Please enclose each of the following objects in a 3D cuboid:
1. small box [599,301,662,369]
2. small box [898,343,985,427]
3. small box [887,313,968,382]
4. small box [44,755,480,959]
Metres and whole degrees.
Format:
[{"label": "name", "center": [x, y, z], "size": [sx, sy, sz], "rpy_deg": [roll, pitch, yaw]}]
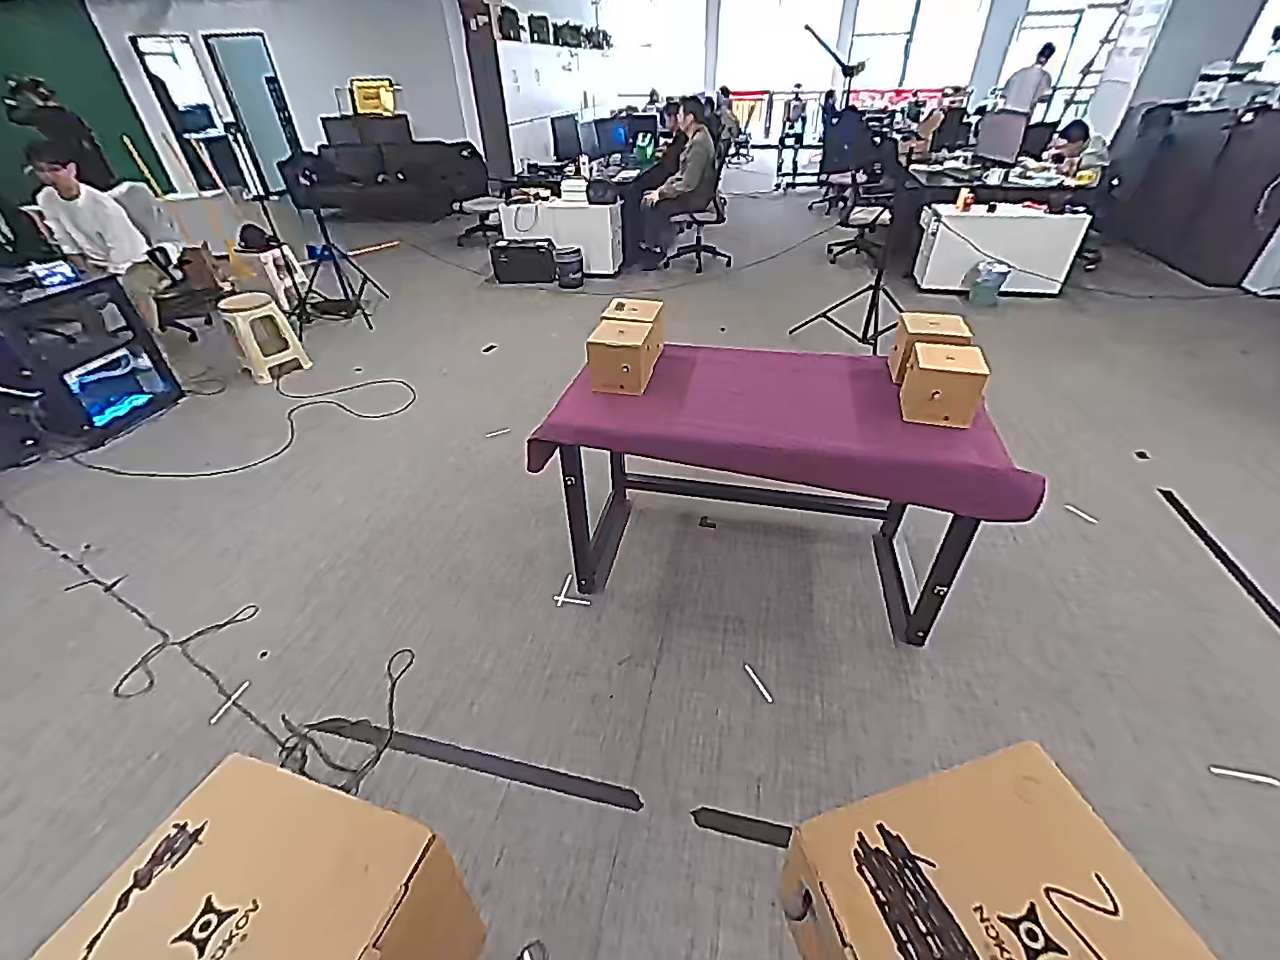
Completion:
[{"label": "small box", "center": [-0.029, -0.490, 1.828], "size": [0.179, 0.176, 0.168], "rpy_deg": [9, 40, 12]}, {"label": "small box", "center": [0.827, -0.263, 1.500], "size": [0.168, 0.176, 0.179], "rpy_deg": [9, 37, 15]}, {"label": "small box", "center": [0.875, -0.401, 1.669], "size": [0.179, 0.176, 0.168], "rpy_deg": [8, 39, 11]}, {"label": "small box", "center": [-0.225, 0.318, 0.342], "size": [0.179, 0.176, 0.168], "rpy_deg": [10, 35, 16]}]
